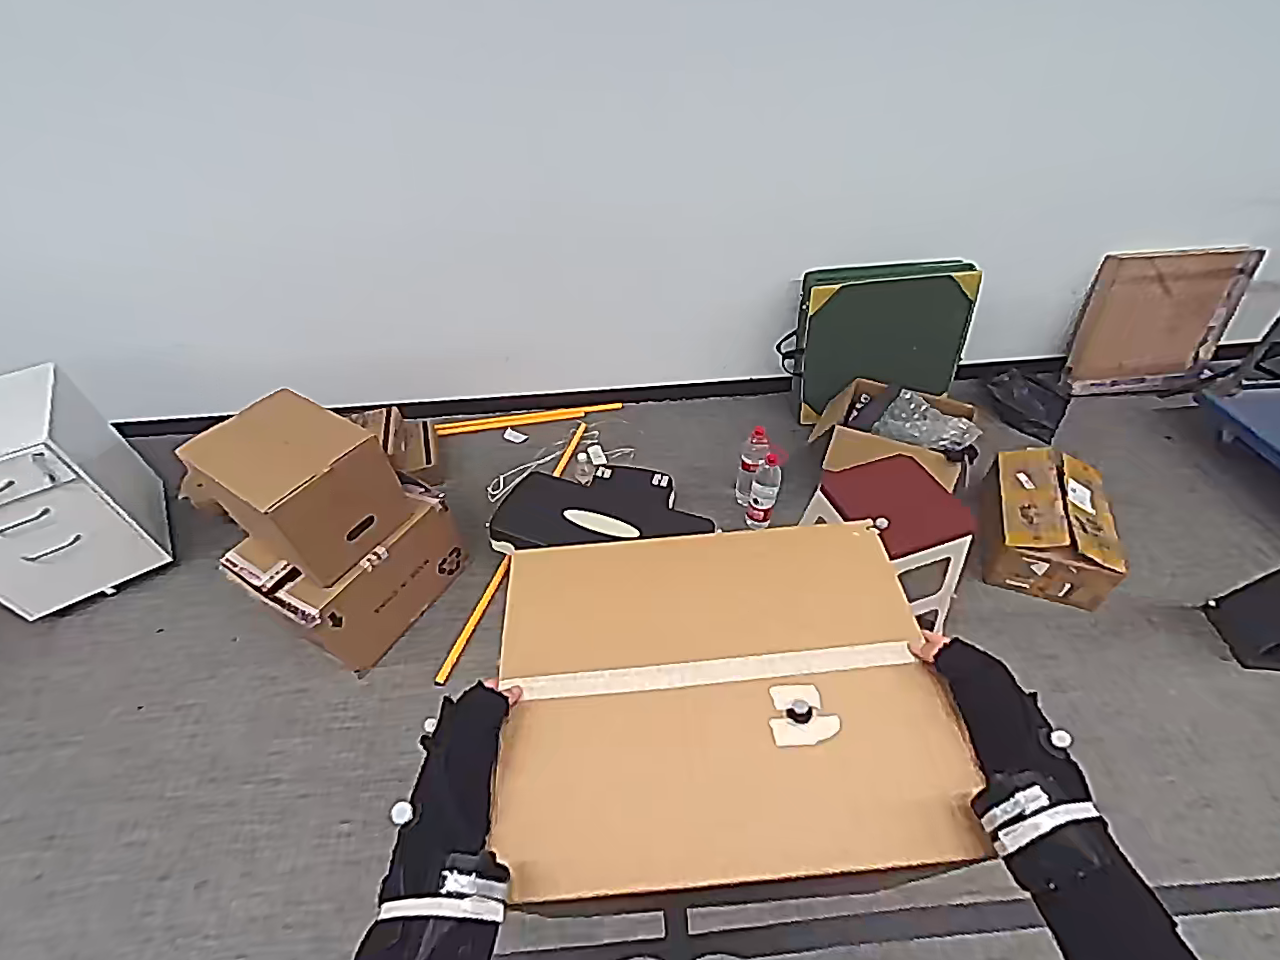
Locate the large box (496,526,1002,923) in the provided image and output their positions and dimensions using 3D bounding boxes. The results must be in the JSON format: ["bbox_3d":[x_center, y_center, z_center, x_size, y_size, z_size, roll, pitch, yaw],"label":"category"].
[{"bbox_3d":[0.078,0.283,0.621,0.408,0.320,0.320,-5,49,-1],"label":"large box"}]
